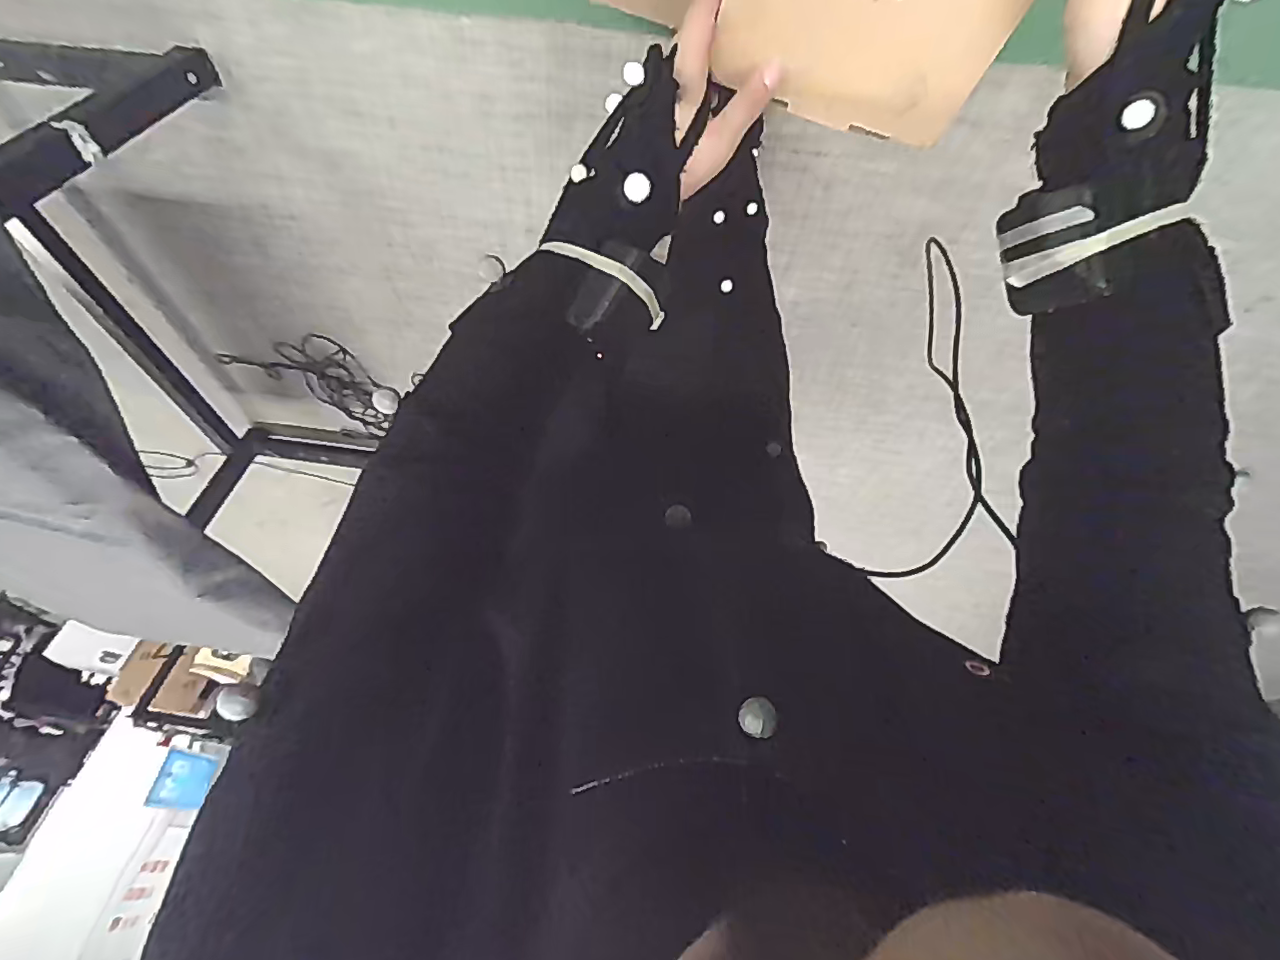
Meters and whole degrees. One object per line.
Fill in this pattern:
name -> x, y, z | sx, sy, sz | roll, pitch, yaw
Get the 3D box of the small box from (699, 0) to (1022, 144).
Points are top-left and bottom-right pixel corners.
small box -> 0.147, -0.354, 0.326 | 0.168, 0.176, 0.179 | 15, 148, -4
